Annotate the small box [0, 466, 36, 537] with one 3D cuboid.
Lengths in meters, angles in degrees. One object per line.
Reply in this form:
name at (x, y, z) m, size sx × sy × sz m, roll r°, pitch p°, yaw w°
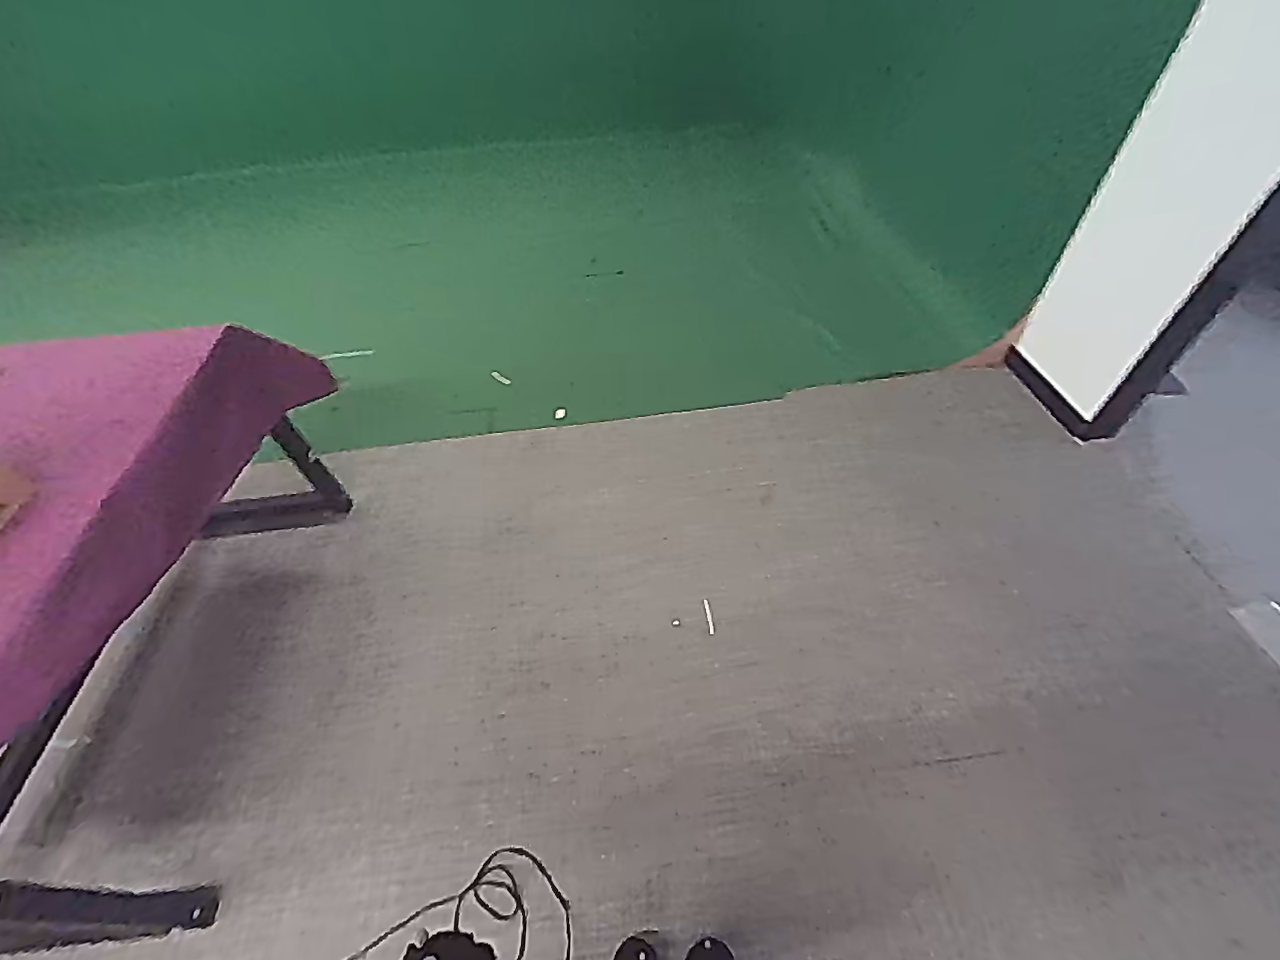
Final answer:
small box at (-1.244, 0.039, 0.930) m, size 0.179 × 0.176 × 0.168 m, roll -3°, pitch 51°, yaw 2°
